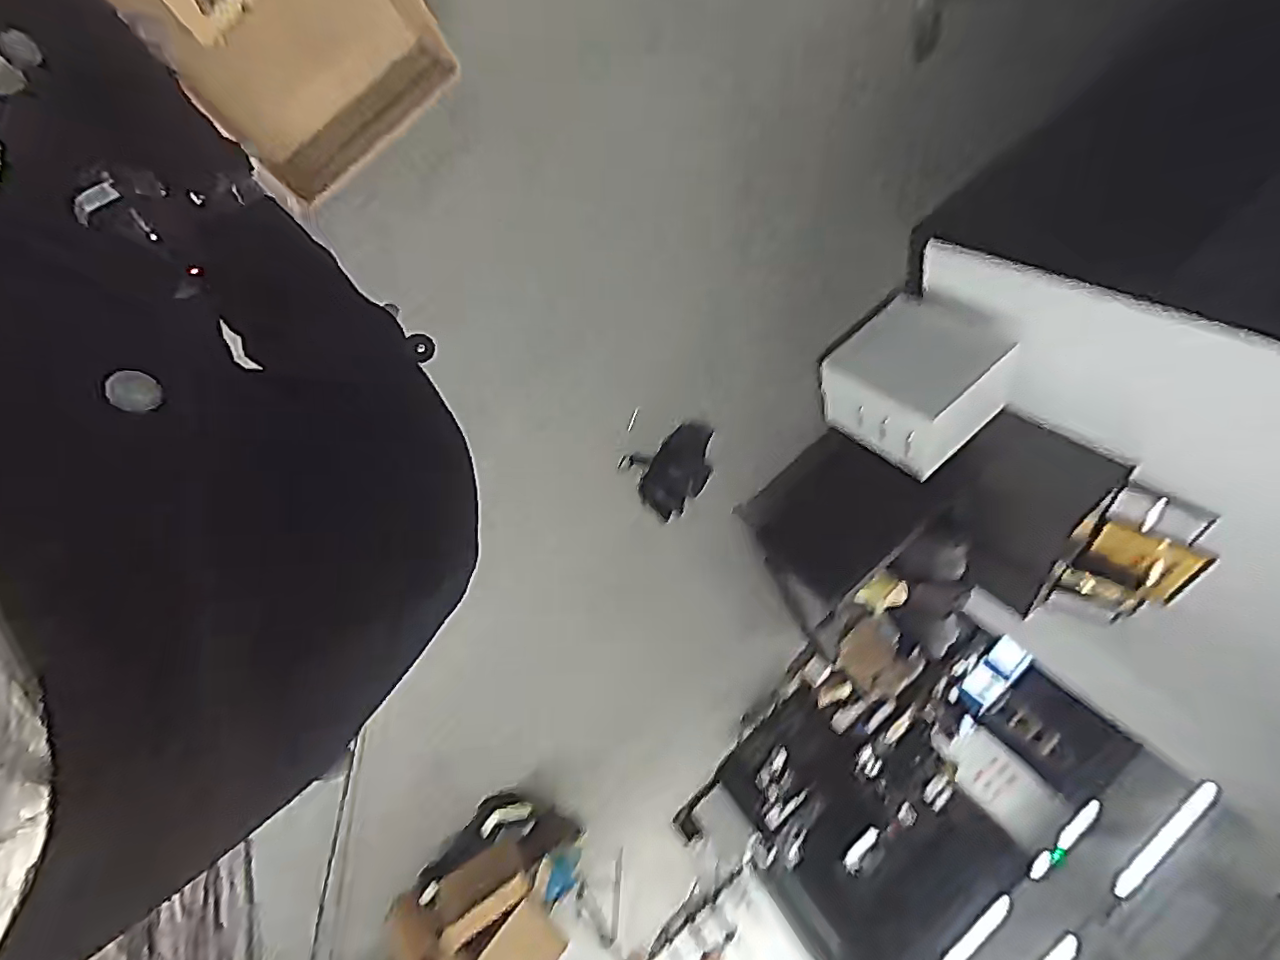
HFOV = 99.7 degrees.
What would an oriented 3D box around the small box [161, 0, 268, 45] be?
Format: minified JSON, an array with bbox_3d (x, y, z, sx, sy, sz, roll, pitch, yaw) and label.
[{"bbox_3d":[-0.646,-0.771,0.774,0.168,0.176,0.179,-43,139,-4],"label":"small box"}]
